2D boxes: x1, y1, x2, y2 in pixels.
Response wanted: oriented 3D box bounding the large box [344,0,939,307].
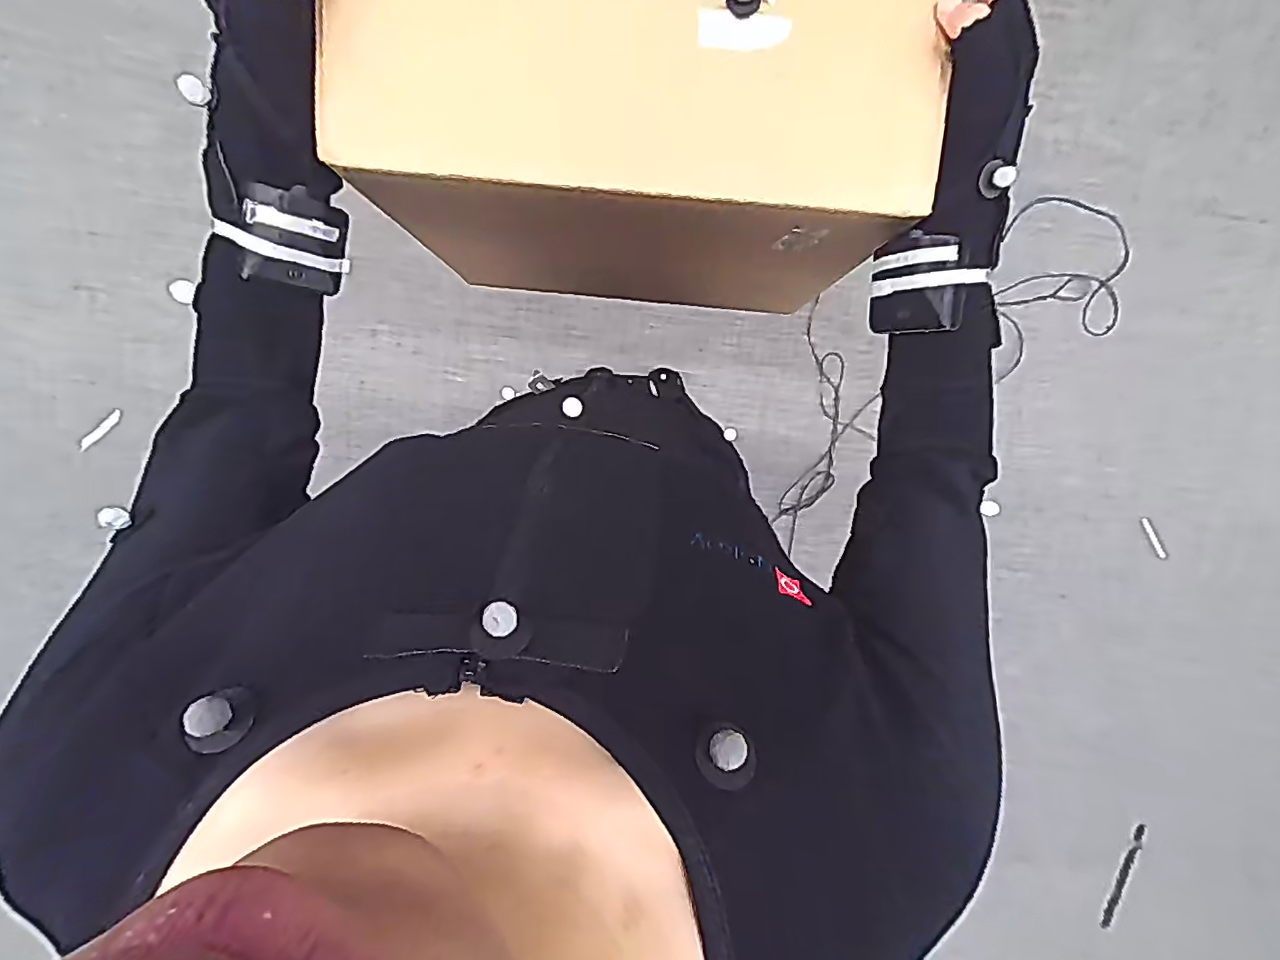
[{"bbox_3d":[0.003,-0.364,0.507,0.408,0.320,0.320,4,95,-1],"label":"large box"}]
